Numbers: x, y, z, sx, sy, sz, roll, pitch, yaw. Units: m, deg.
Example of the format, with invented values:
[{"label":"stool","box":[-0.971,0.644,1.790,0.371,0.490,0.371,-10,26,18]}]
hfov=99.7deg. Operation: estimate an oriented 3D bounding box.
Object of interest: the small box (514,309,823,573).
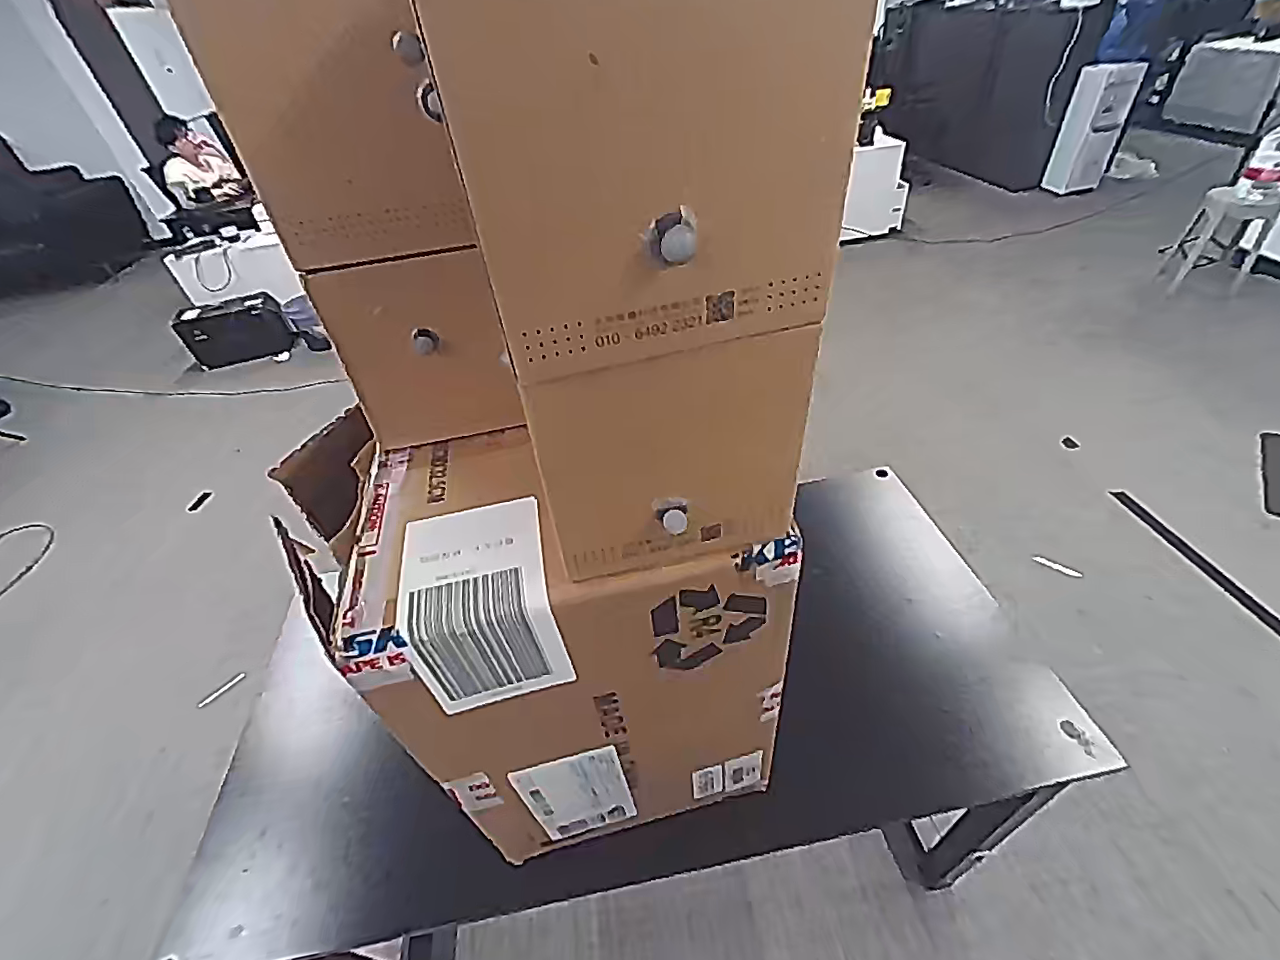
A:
[{"label":"small box","box":[0.006,-0.062,0.391,0.168,0.176,0.179,-12,43,-6]}]

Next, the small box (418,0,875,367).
[{"label":"small box","box":[-0.010,-0.181,0.277,0.168,0.176,0.179,-14,43,-8]}]

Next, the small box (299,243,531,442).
[{"label":"small box","box":[-0.177,-0.155,0.518,0.179,0.176,0.168,-12,40,-6]}]

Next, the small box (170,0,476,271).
[{"label":"small box","box":[-0.189,-0.278,0.410,0.179,0.176,0.168,-14,40,-9]}]
